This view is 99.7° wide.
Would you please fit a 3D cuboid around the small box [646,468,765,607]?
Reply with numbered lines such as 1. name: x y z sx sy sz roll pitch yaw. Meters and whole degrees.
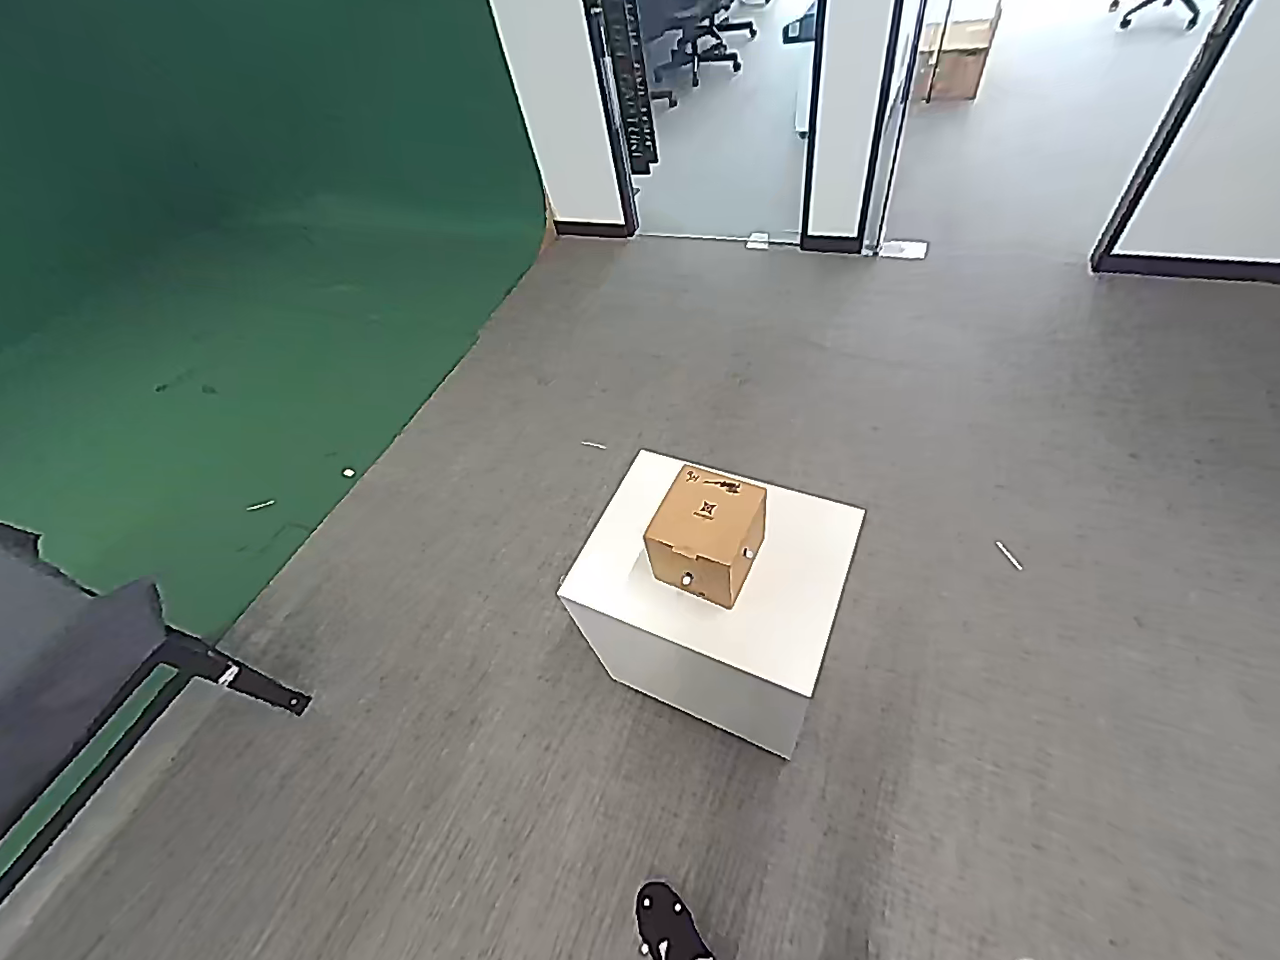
1. small box: 0.131 0.111 1.018 0.168 0.176 0.179 16 57 22
